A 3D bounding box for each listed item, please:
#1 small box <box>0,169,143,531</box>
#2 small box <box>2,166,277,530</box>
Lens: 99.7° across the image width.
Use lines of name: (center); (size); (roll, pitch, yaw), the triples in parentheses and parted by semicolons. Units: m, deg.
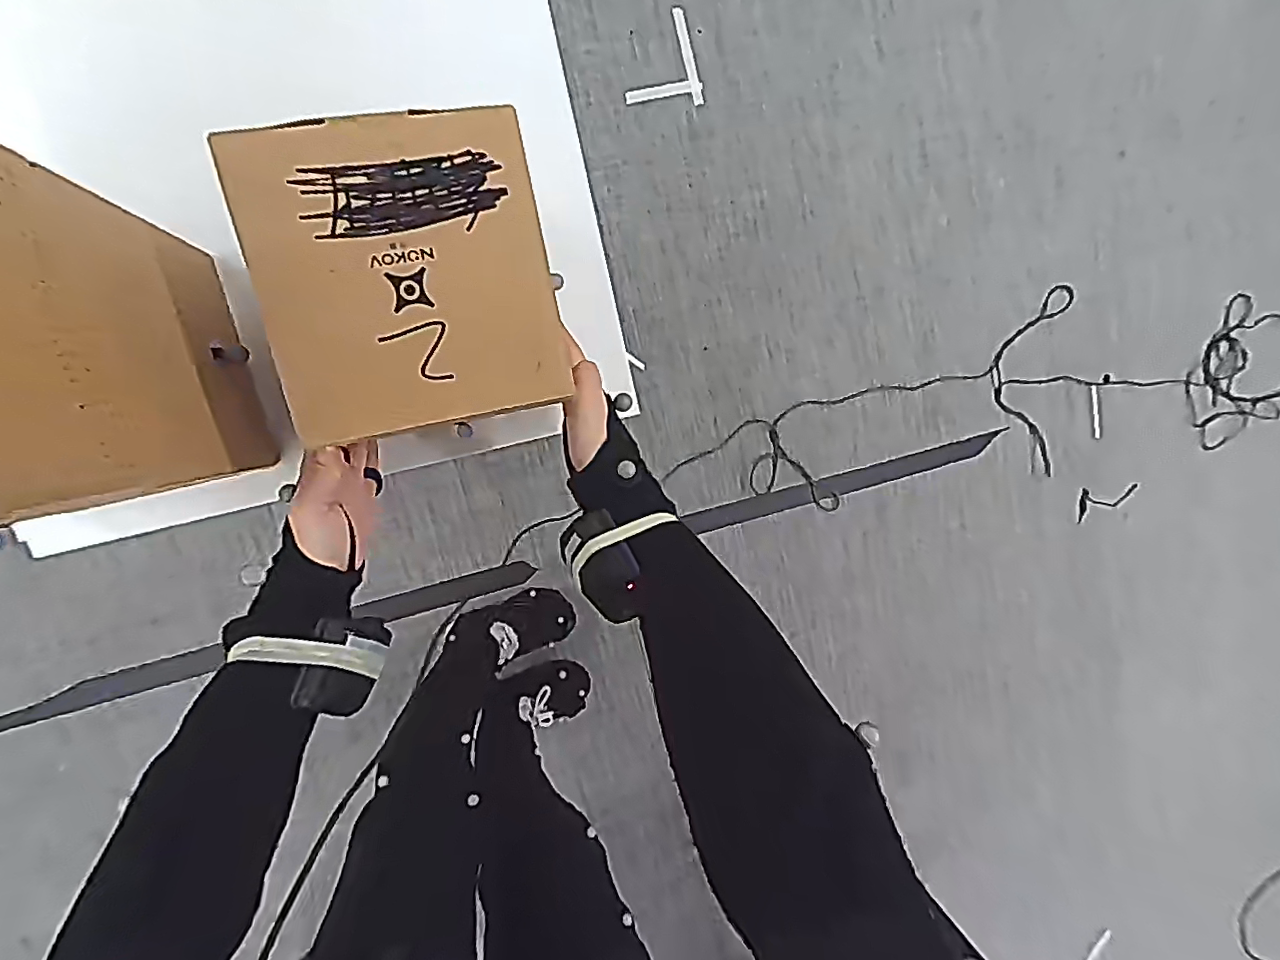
small box: (-0.342, -0.045, 0.192); (0.168, 0.176, 0.179); (-16, 99, -10)
small box: (-0.378, -0.064, 0.349); (0.168, 0.176, 0.179); (-14, 98, -10)
